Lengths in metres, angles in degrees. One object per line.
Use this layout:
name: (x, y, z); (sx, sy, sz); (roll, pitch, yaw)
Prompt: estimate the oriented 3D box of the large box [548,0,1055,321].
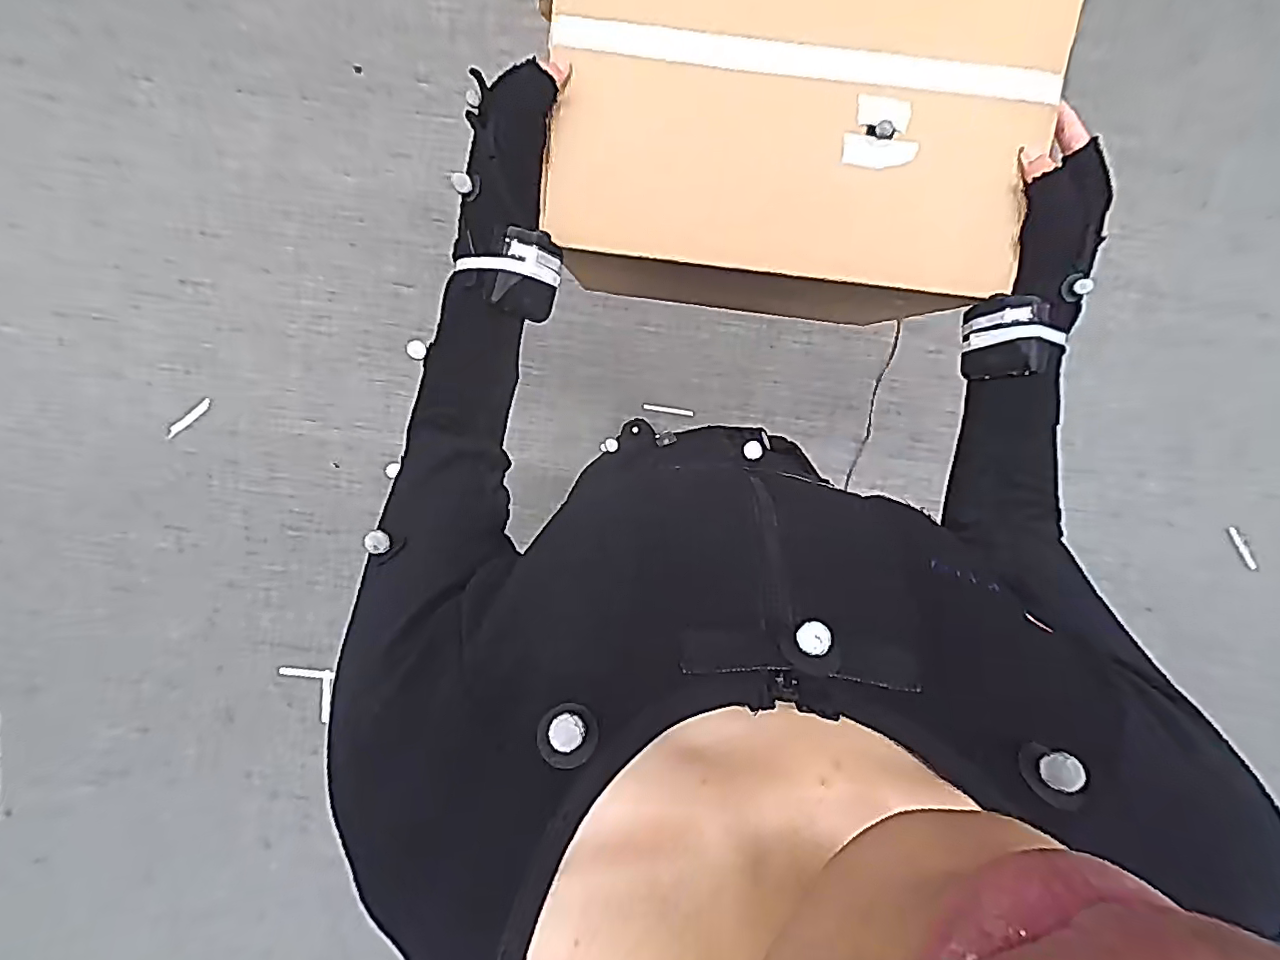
large box: (0.128, -0.363, 0.593); (0.408, 0.320, 0.320); (6, 103, -1)
